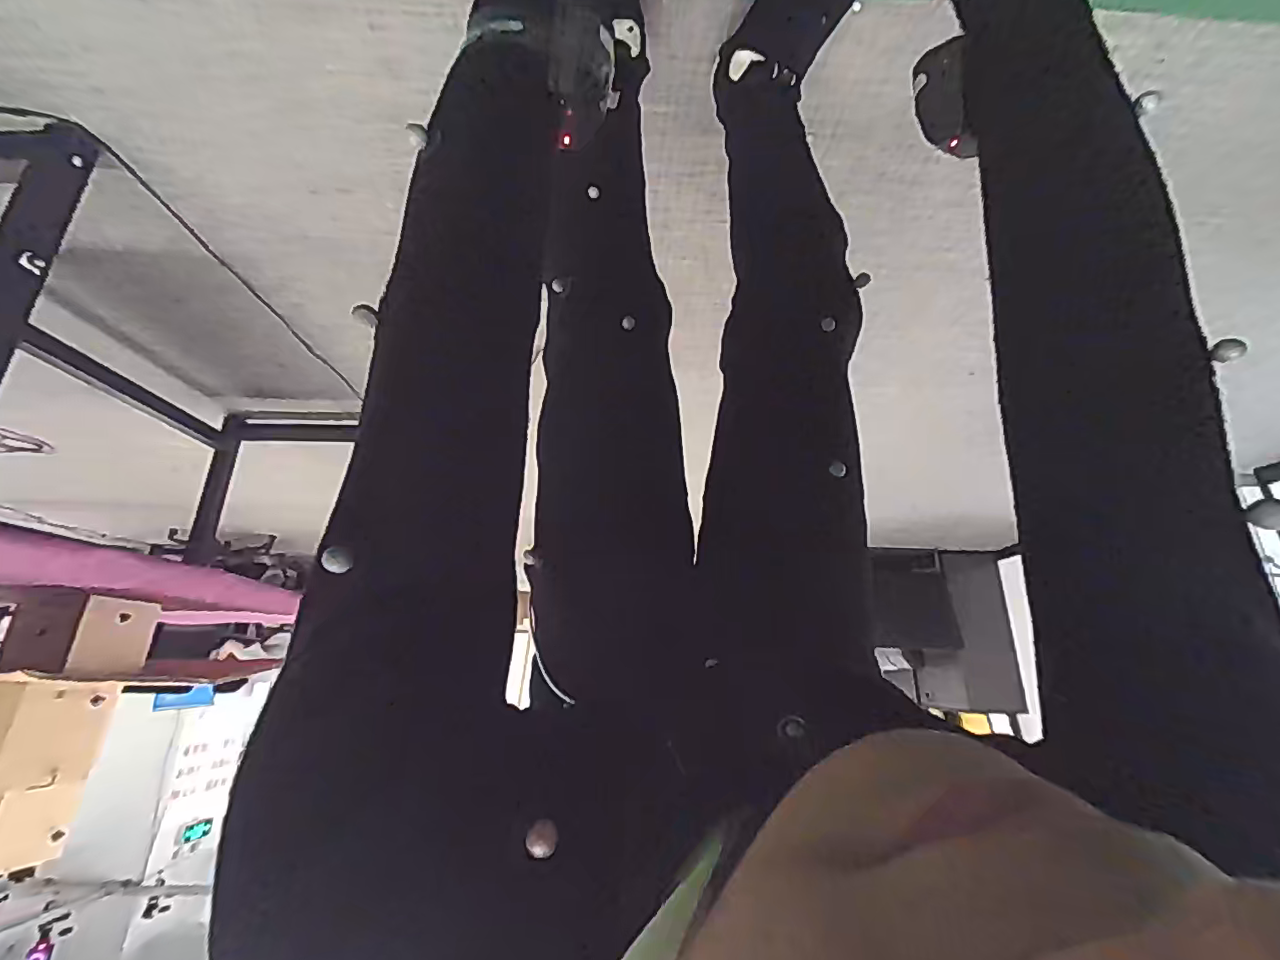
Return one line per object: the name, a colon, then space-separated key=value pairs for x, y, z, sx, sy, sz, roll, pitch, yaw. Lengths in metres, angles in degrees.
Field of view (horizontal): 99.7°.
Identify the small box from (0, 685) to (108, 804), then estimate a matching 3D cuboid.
small box: x=-1.064 y=0.439 z=0.913 sx=0.179 sy=0.176 sz=0.168 roll=1 pitch=158 yaw=1
